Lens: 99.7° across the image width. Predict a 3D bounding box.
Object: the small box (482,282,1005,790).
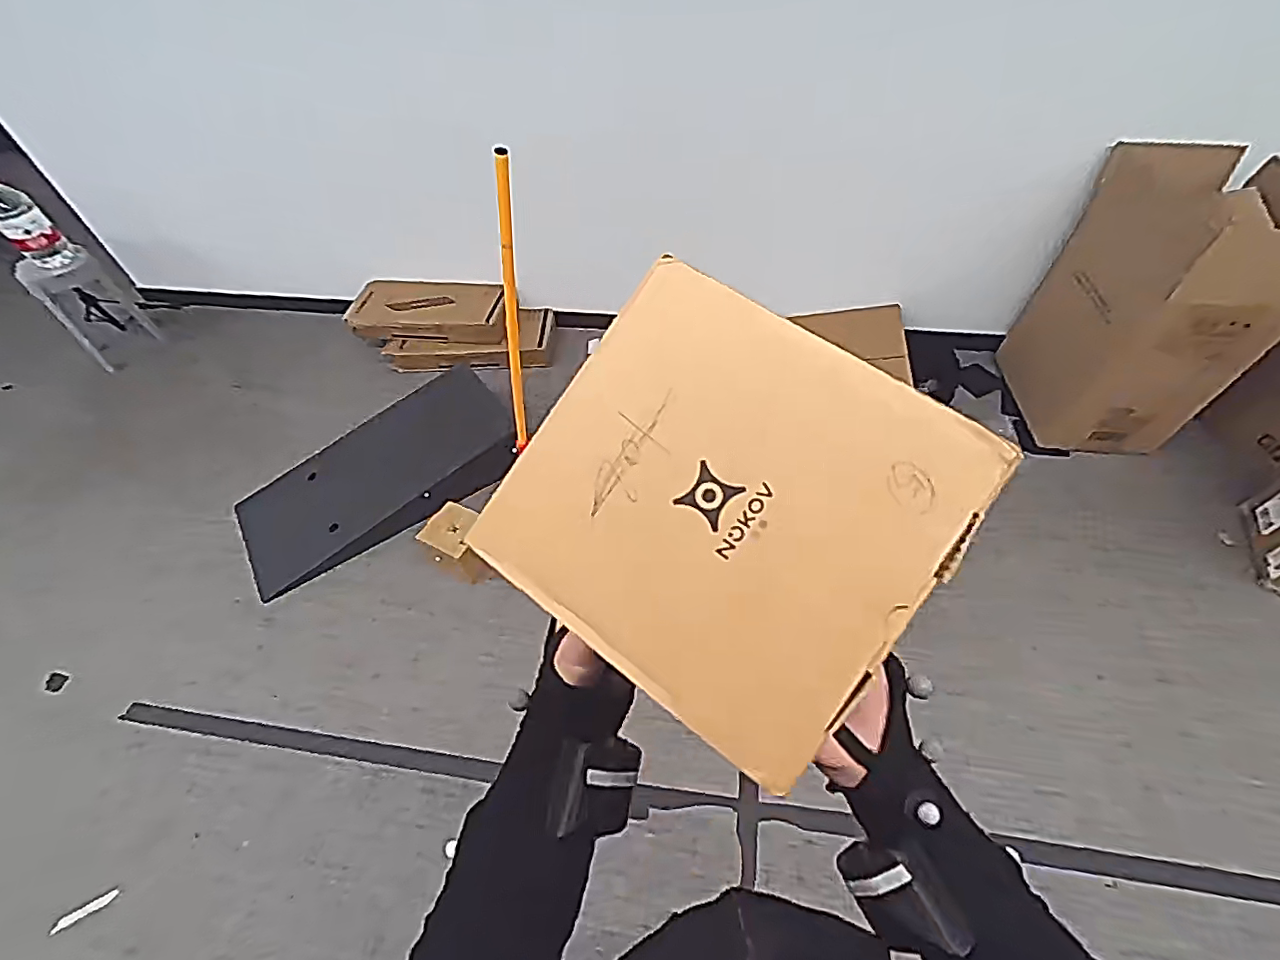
[{"bbox_3d":[0.053,0.027,0.318,0.179,0.176,0.168,35,88,16],"label":"small box"}]
